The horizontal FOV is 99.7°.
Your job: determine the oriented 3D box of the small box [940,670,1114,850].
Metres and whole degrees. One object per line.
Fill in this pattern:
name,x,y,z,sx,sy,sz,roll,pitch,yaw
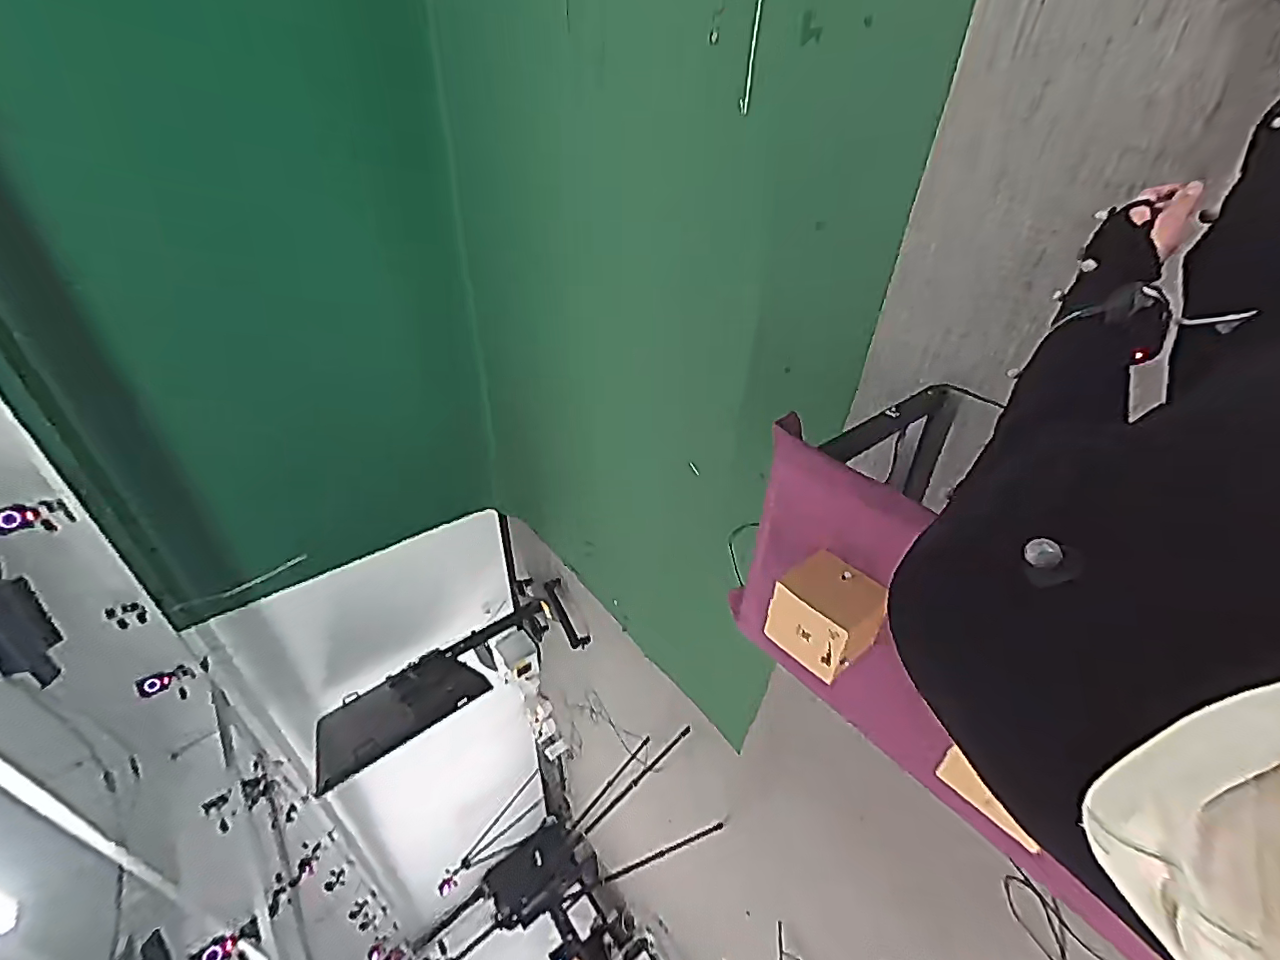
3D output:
small box,0.652,0.462,0.913,0.168,0.176,0.179,35,138,40

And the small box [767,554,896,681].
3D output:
small box,0.406,0.282,1.157,0.179,0.176,0.168,37,138,38

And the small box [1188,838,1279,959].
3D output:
small box,0.869,0.614,0.690,0.168,0.176,0.179,34,136,40
